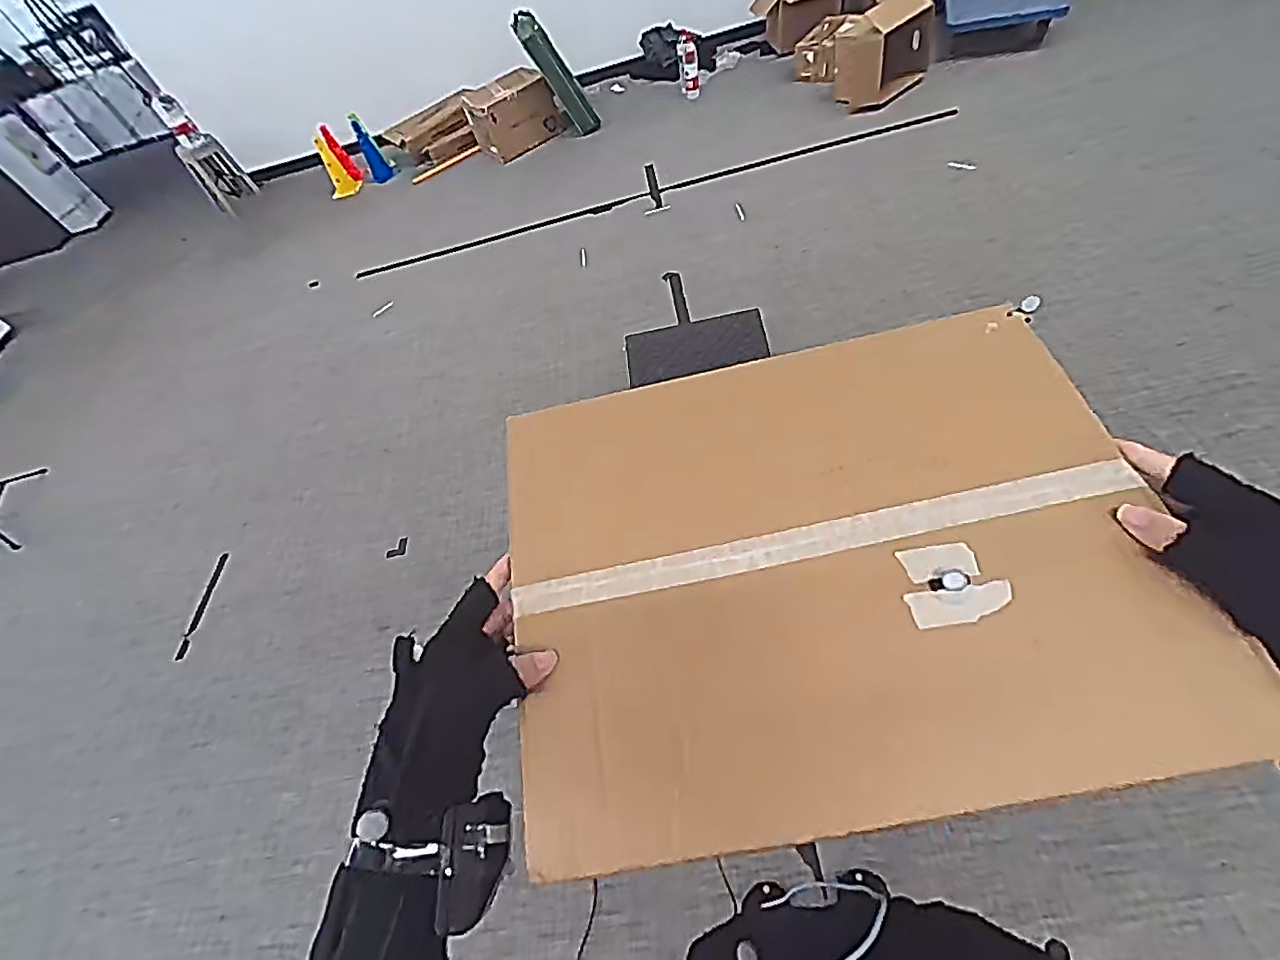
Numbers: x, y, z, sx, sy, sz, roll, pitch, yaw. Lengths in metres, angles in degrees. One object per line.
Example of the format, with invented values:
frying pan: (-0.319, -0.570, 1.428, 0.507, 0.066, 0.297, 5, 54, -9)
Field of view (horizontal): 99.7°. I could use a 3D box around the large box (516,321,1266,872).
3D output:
large box: (0.135, 0.117, 0.495, 0.408, 0.320, 0.320, -12, 61, 3)
